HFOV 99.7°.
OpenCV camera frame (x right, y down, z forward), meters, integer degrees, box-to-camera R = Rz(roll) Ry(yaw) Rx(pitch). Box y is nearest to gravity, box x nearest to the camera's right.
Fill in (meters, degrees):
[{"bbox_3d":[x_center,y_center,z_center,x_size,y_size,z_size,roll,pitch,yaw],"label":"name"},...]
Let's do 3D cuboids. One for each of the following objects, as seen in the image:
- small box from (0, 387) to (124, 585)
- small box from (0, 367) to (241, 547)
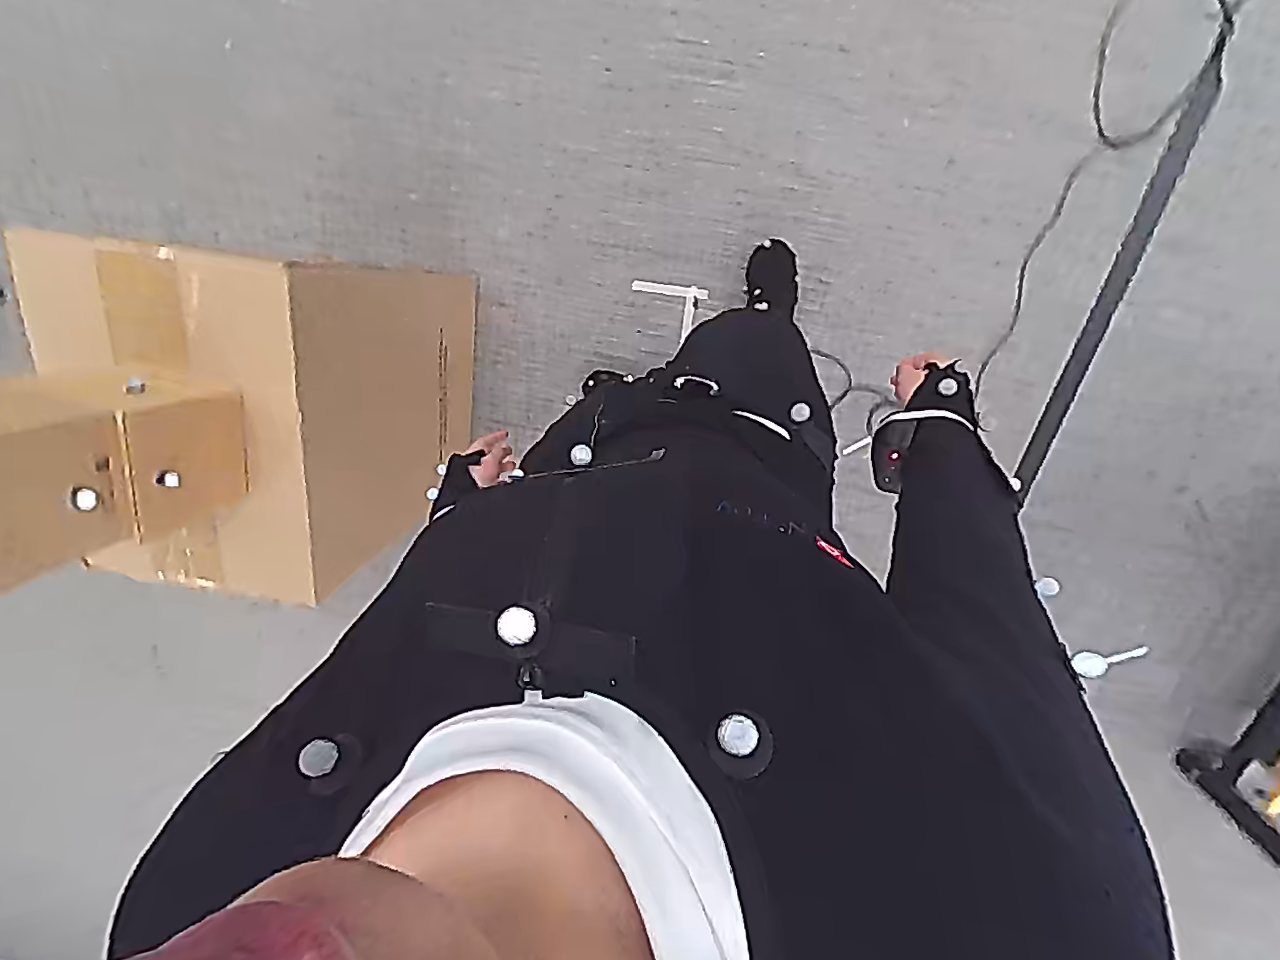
[{"bbox_3d":[-0.697,0.006,0.553,0.179,0.176,0.168,13,111,1],"label":"small box"},{"bbox_3d":[-0.666,-0.040,0.708,0.168,0.176,0.179,13,111,2],"label":"small box"}]
